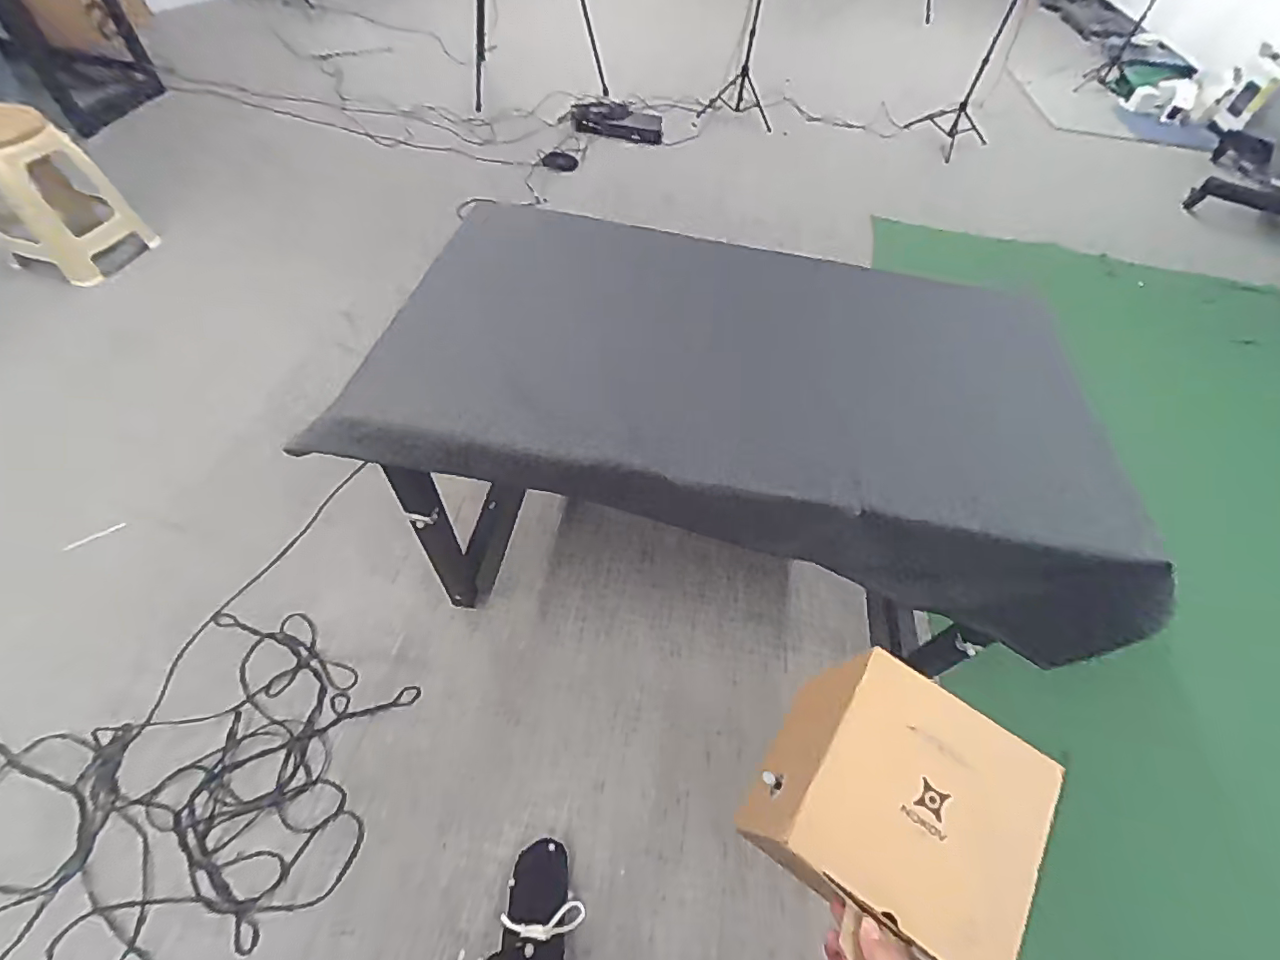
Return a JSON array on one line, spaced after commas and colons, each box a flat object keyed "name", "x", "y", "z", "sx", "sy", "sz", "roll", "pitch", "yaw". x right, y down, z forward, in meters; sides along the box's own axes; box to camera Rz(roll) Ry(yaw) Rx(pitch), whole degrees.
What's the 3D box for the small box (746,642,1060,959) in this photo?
[{"name": "small box", "x": 0.211, "y": 0.279, "z": 0.477, "sx": 0.168, "sy": 0.176, "sz": 0.179, "roll": 33, "pitch": 63, "yaw": 12}]
